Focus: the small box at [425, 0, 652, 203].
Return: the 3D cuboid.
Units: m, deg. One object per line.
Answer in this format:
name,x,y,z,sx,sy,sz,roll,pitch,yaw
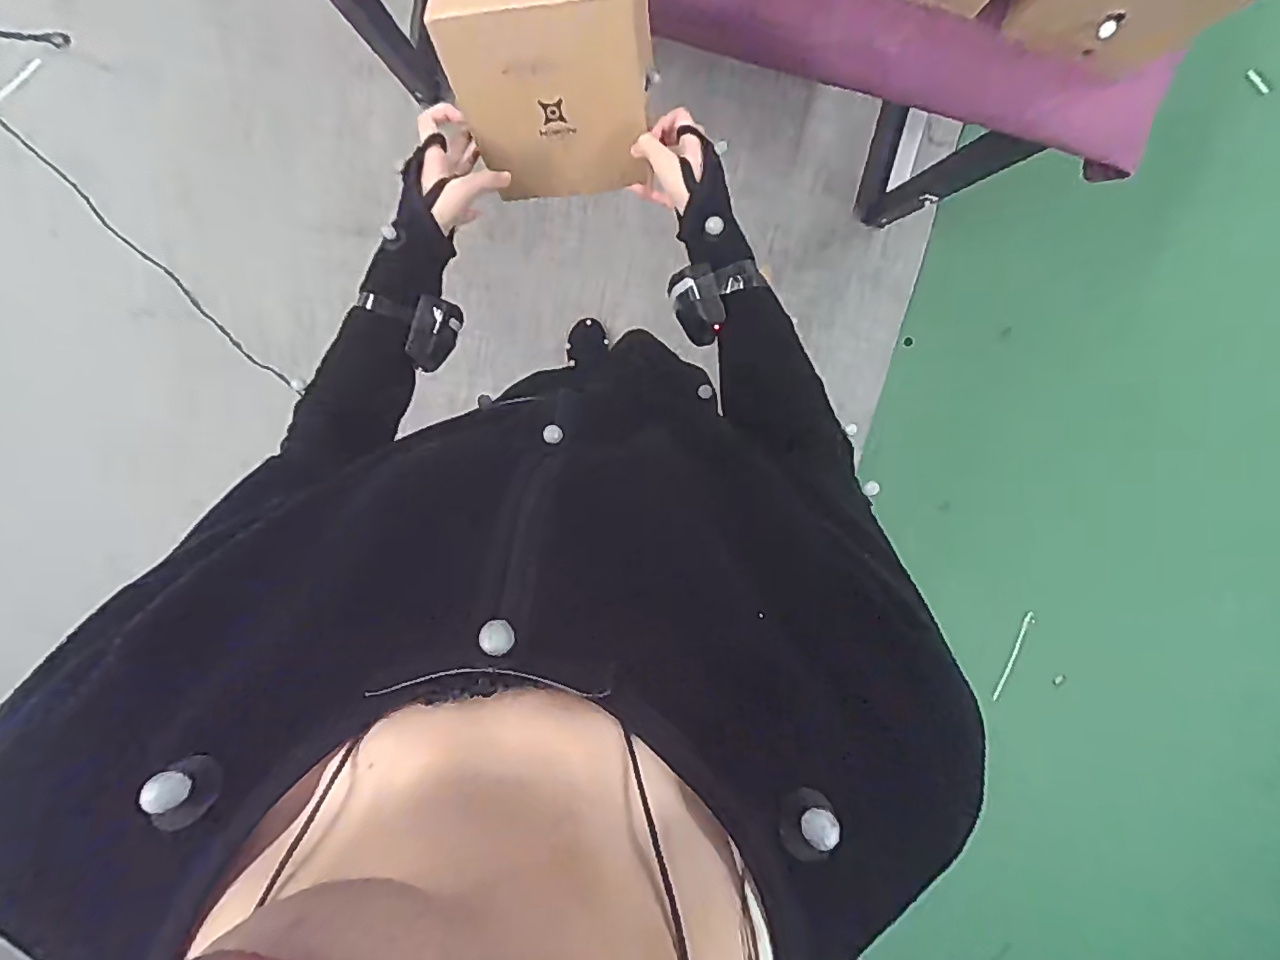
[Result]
small box,-0.077,-0.401,0.518,0.168,0.179,0.176,-1,69,6
